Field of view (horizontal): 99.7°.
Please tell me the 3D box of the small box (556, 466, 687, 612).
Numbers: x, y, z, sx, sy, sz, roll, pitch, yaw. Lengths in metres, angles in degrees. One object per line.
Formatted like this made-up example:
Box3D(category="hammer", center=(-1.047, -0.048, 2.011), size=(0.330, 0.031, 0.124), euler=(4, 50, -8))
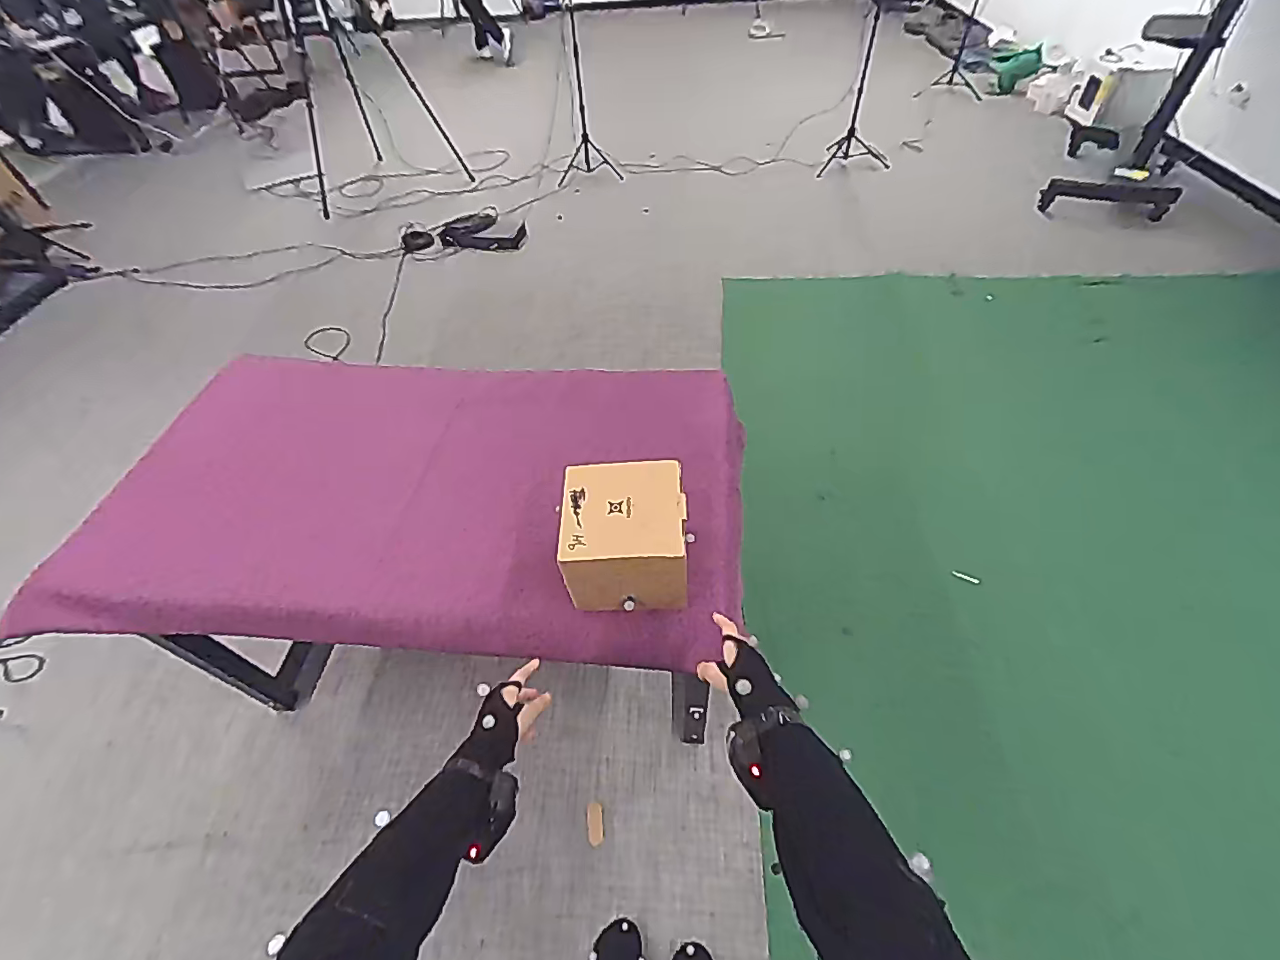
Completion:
Box3D(category="small box", center=(-0.021, 0.094, 0.828), size=(0.179, 0.176, 0.168), euler=(-2, 53, 3))
